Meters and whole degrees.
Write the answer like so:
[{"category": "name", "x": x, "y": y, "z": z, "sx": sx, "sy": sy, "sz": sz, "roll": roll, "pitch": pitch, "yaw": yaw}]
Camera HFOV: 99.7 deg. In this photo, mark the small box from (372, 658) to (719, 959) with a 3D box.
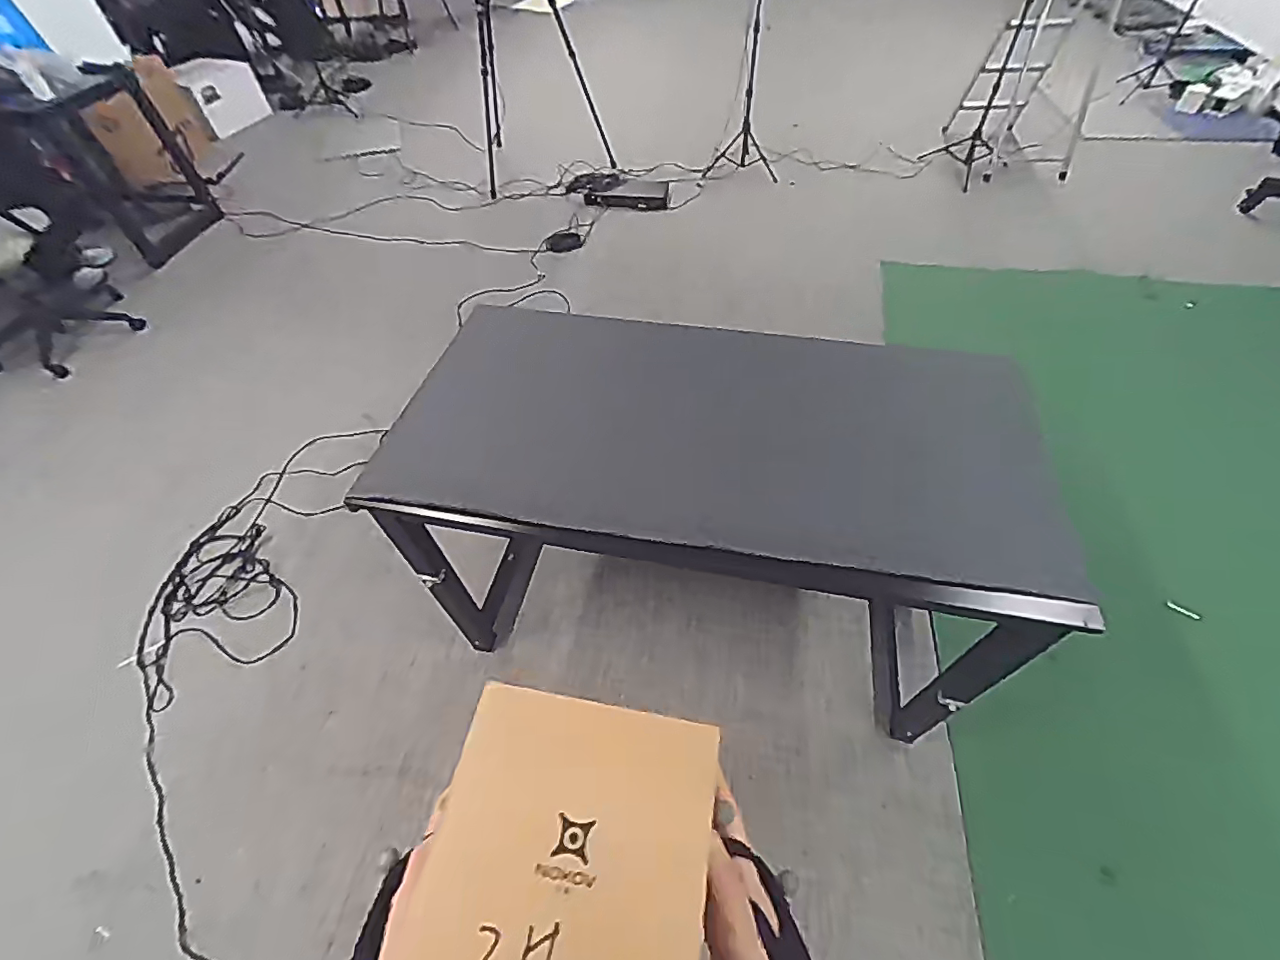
[{"category": "small box", "x": -0.045, "y": 0.251, "z": 0.380, "sx": 0.168, "sy": 0.176, "sz": 0.179, "roll": 9, "pitch": 54, "yaw": 7}]
